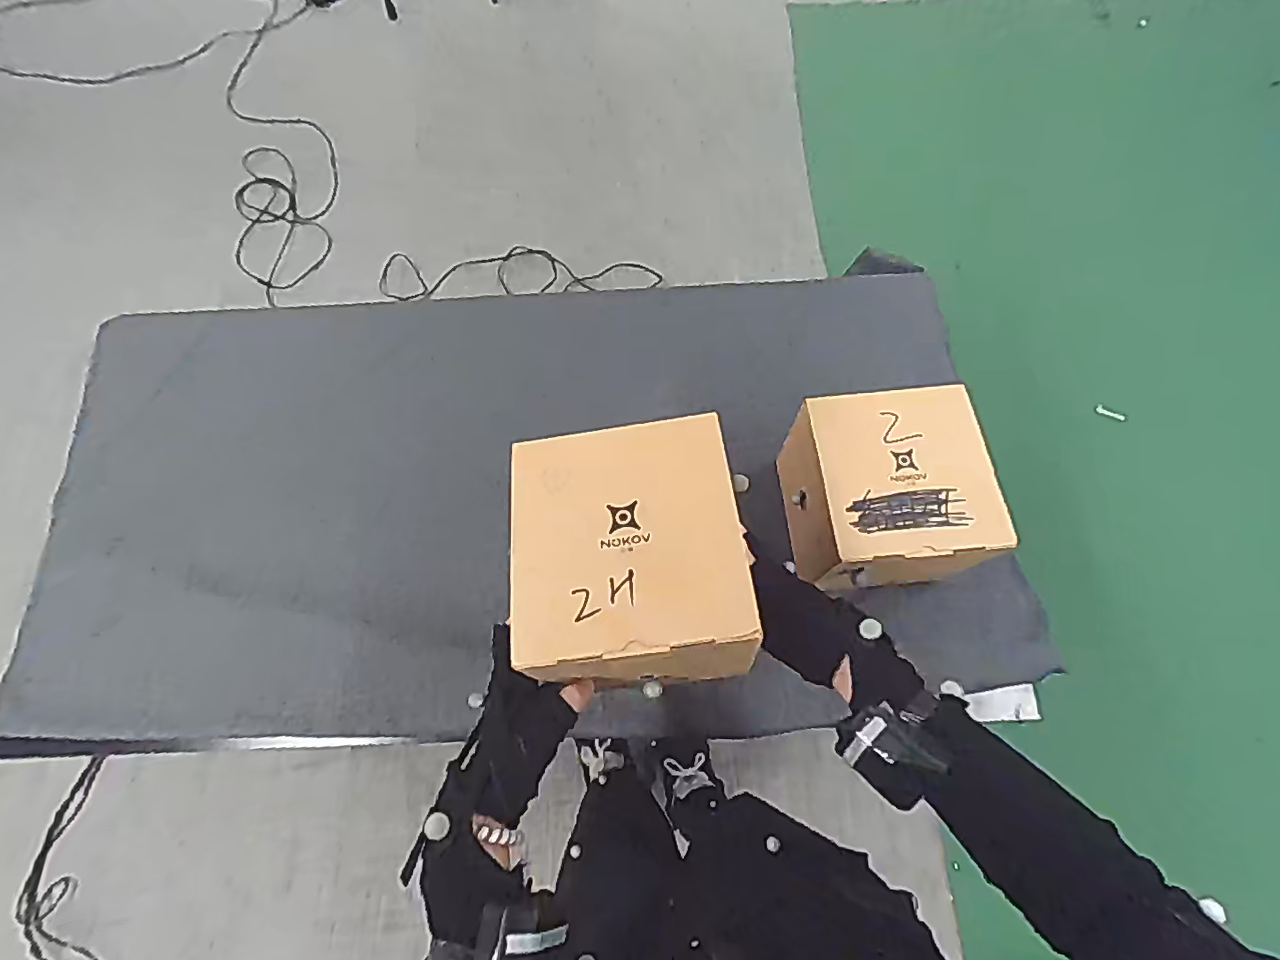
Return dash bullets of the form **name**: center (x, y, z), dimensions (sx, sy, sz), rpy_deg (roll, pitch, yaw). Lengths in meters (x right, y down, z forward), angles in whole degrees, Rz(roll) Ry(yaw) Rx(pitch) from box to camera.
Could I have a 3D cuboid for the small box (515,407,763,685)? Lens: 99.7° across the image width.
- **small box**: center (0.001, 0.065, 0.460), dimensions (0.168, 0.176, 0.179), rpy_deg (-8, 62, 3)
